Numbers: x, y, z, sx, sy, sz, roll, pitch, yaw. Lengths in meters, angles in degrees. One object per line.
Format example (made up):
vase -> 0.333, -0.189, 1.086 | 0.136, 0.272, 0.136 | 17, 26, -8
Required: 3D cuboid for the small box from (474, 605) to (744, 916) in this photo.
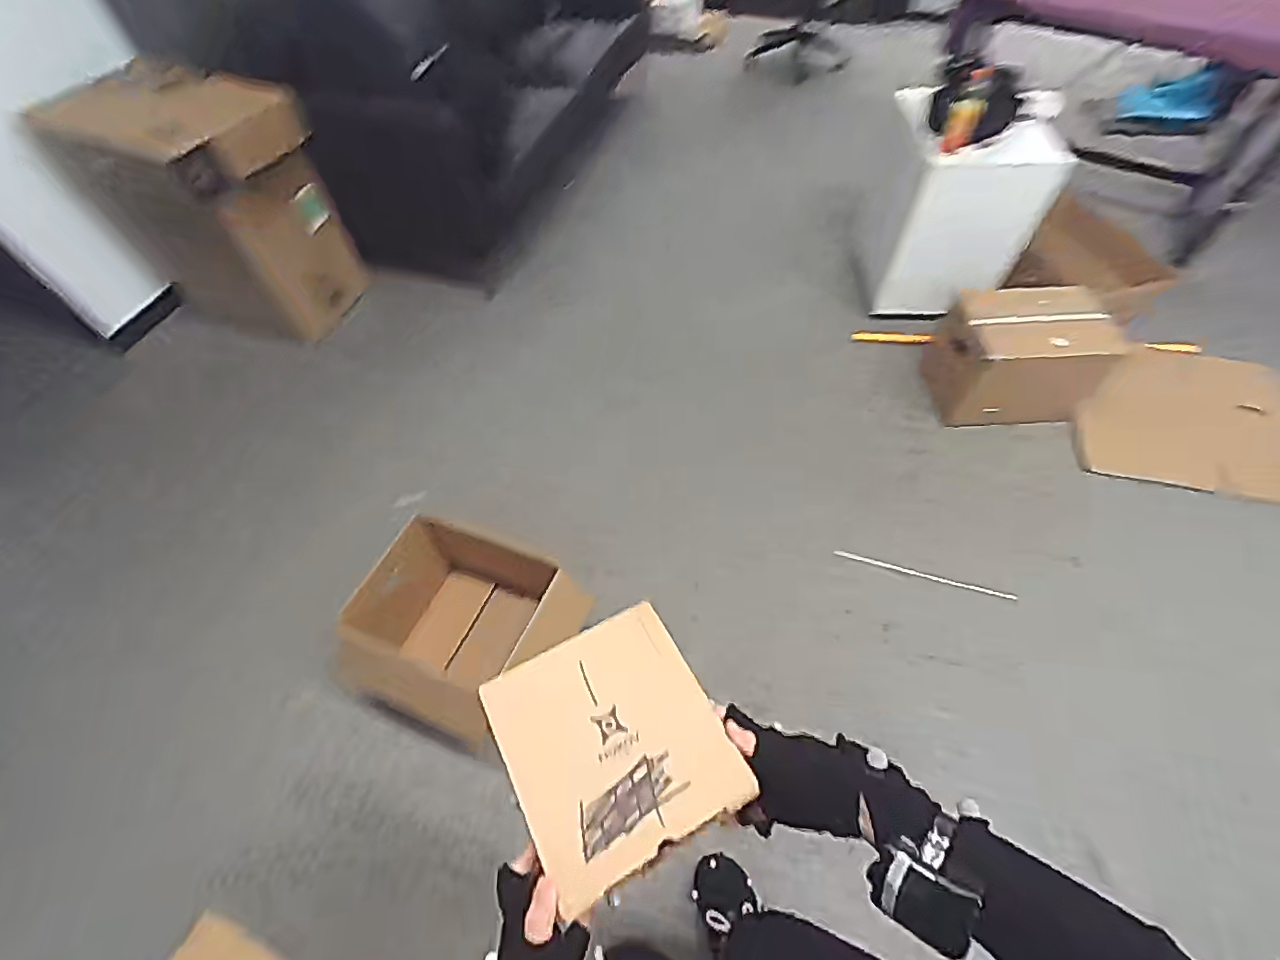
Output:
small box -> -0.029, 0.254, 0.501 | 0.168, 0.176, 0.179 | -24, 57, -18
